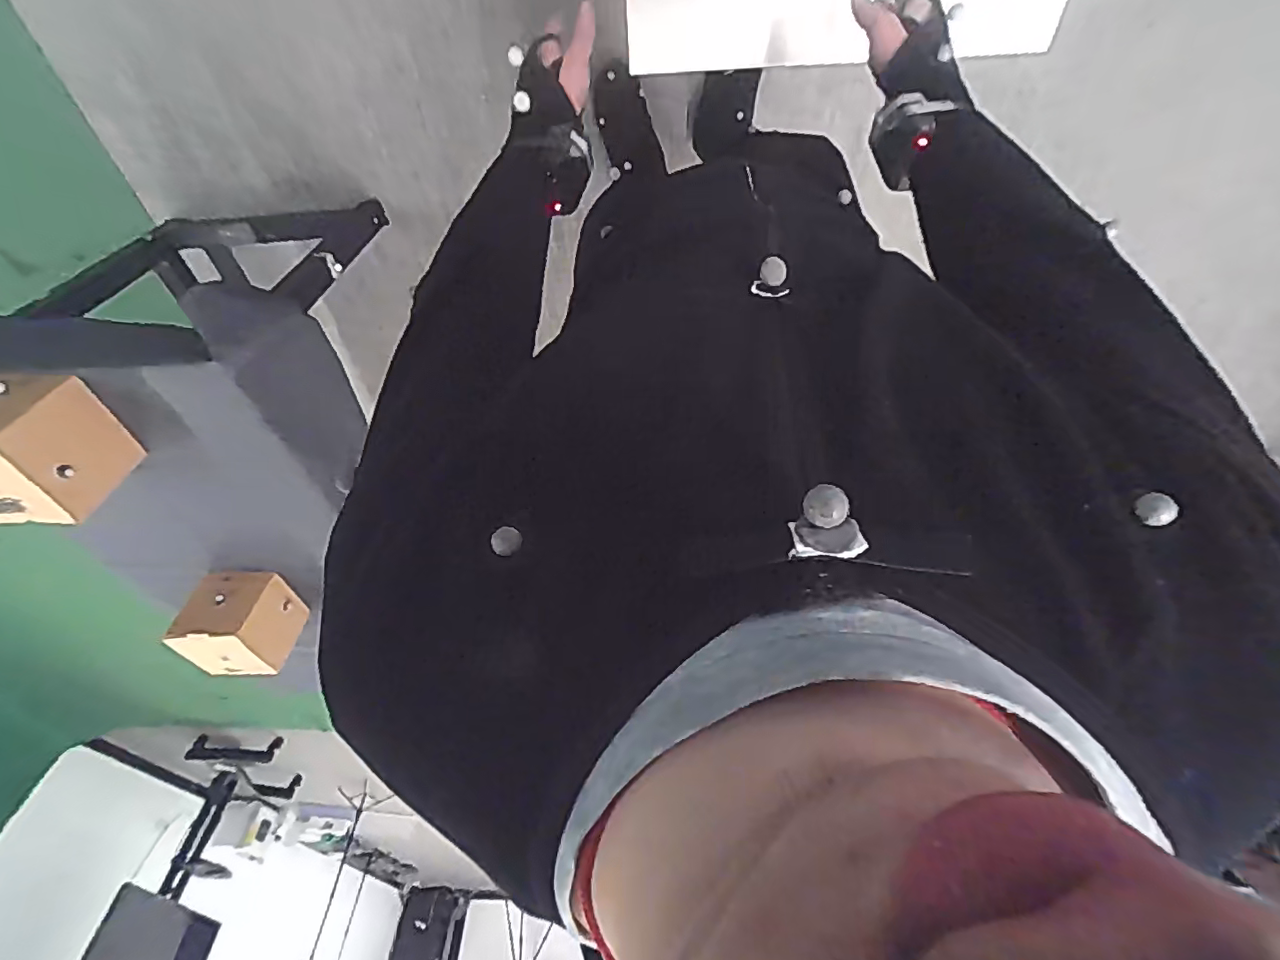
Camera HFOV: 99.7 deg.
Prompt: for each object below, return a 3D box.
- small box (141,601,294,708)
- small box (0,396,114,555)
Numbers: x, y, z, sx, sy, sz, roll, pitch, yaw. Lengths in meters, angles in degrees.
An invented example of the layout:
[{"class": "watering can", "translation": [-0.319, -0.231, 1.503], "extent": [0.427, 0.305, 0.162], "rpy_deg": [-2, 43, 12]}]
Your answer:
[{"class": "small box", "translation": [-0.907, 0.376, 1.181], "extent": [0.168, 0.176, 0.179], "rpy_deg": [-3, 134, 1]}, {"class": "small box", "translation": [-0.963, -0.006, 0.803], "extent": [0.168, 0.176, 0.179], "rpy_deg": [-2, 134, -1]}]
